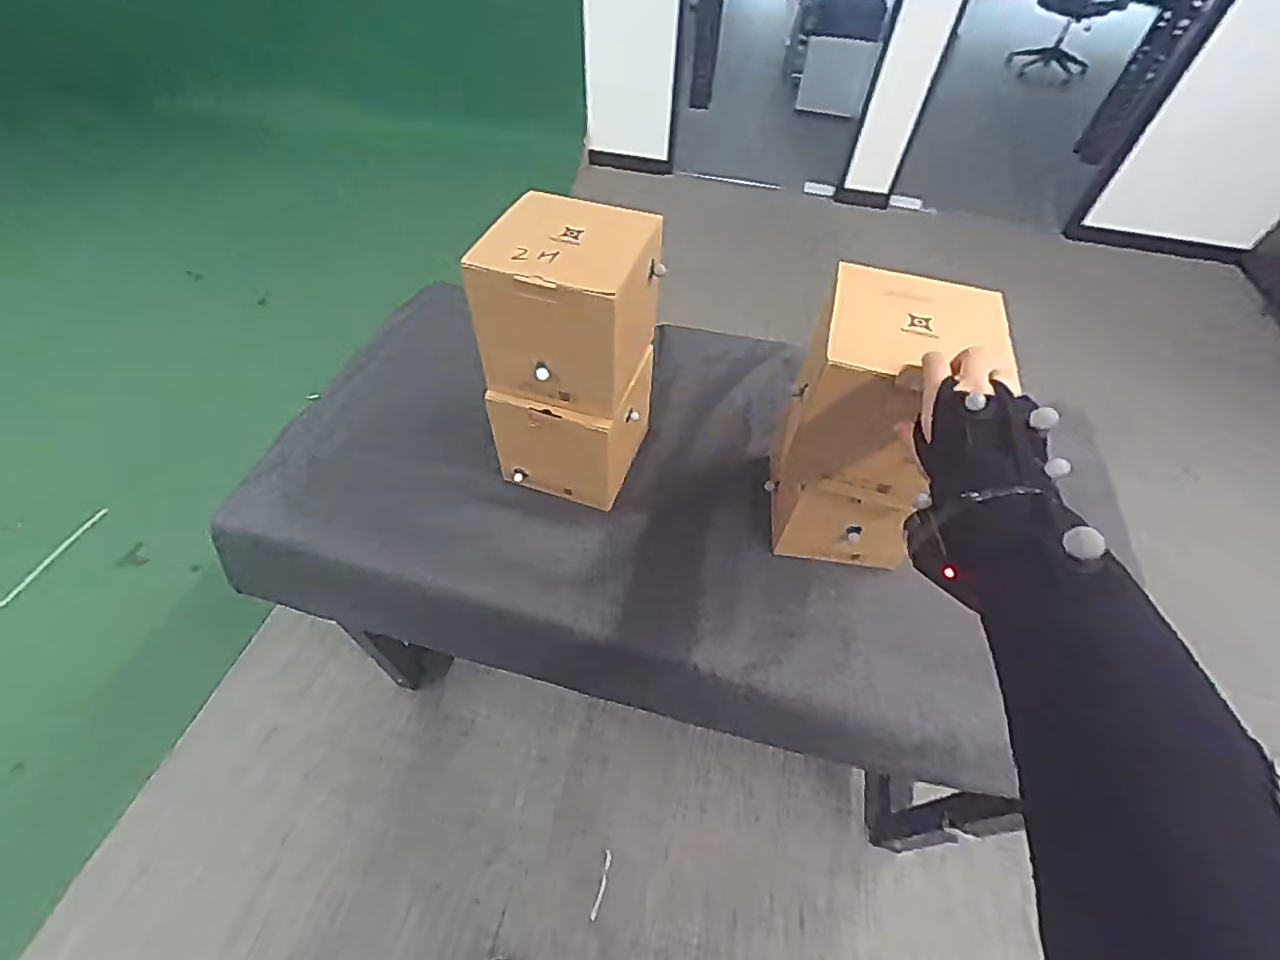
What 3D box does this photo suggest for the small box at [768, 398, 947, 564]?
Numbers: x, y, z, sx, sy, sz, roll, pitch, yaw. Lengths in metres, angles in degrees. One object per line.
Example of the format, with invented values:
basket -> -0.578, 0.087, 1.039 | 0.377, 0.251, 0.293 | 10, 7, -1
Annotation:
small box -> 0.270, -0.007, 0.718 | 0.168, 0.176, 0.179 | 7, 52, 3

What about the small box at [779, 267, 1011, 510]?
small box -> 0.255, -0.094, 0.578 | 0.168, 0.176, 0.179 | 15, 51, 8

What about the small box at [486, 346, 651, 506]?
small box -> -0.091, -0.090, 0.764 | 0.168, 0.176, 0.179 | 17, 52, 9

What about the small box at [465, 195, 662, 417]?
small box -> -0.081, -0.206, 0.645 | 0.168, 0.176, 0.179 | 15, 52, 9
